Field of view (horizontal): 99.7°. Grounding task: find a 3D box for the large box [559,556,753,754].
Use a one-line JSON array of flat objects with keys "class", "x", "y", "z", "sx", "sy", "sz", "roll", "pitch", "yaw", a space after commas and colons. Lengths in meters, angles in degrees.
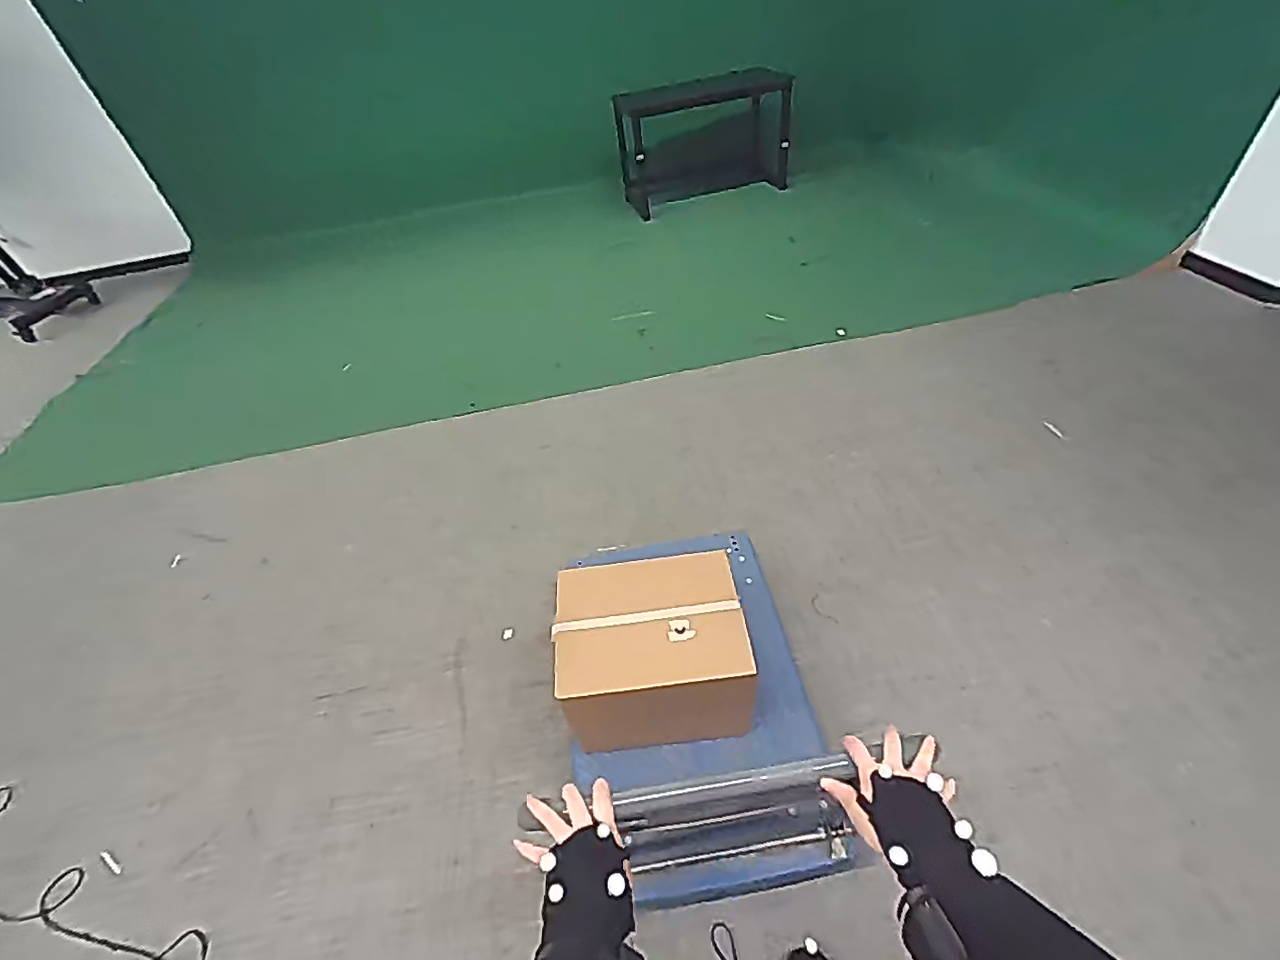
[{"class": "large box", "x": 0.030, "y": 0.419, "z": 1.292, "sx": 0.408, "sy": 0.320, "sz": 0.320, "roll": -7, "pitch": 44, "yaw": 0}]
